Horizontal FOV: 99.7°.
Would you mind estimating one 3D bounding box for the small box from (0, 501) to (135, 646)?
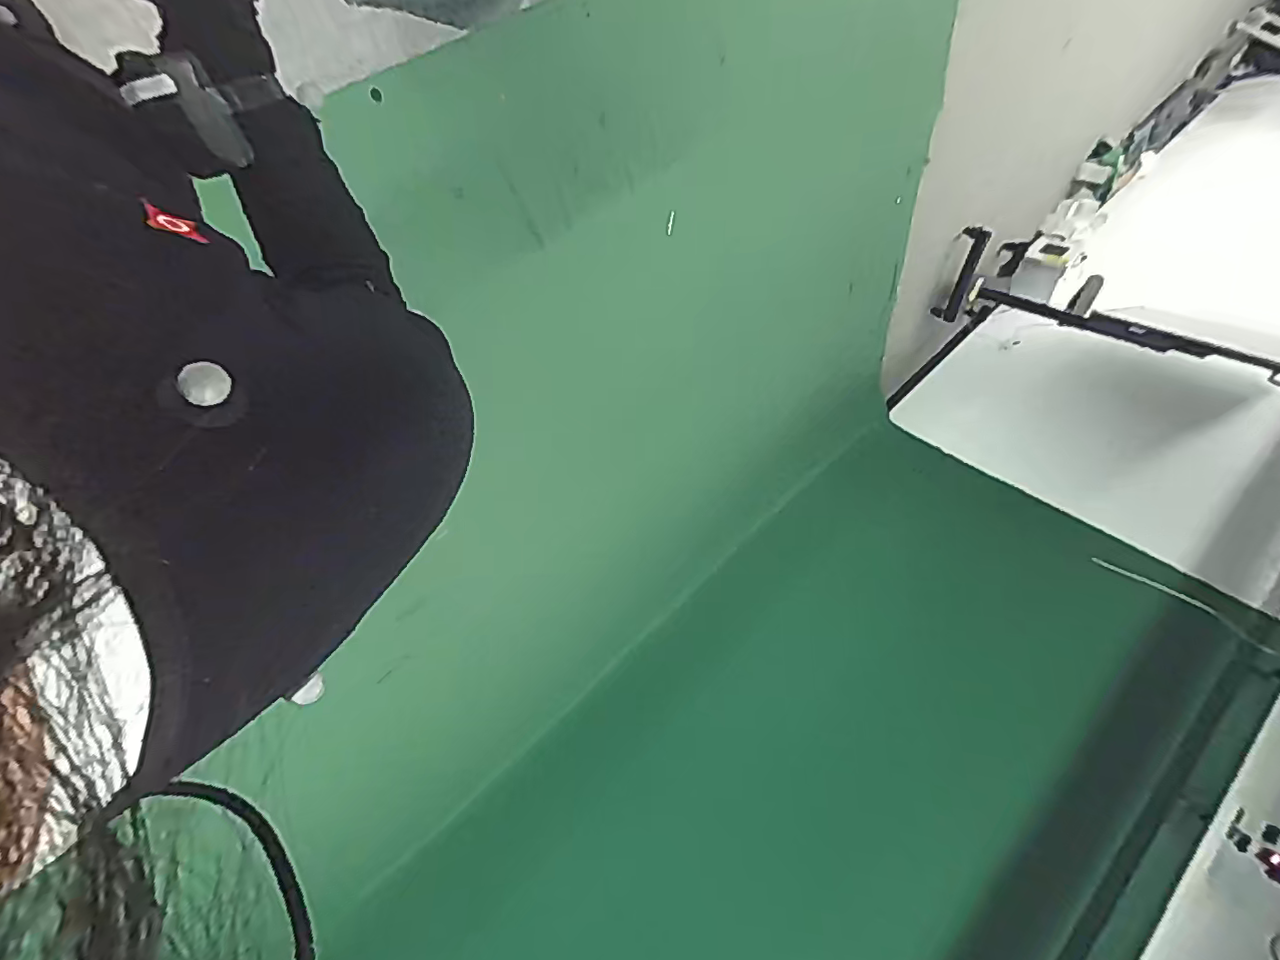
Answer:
[{"bbox_3d":[-1.135,0.177,1.040,0.179,0.176,0.168,-39,144,-17],"label":"small box"}]
